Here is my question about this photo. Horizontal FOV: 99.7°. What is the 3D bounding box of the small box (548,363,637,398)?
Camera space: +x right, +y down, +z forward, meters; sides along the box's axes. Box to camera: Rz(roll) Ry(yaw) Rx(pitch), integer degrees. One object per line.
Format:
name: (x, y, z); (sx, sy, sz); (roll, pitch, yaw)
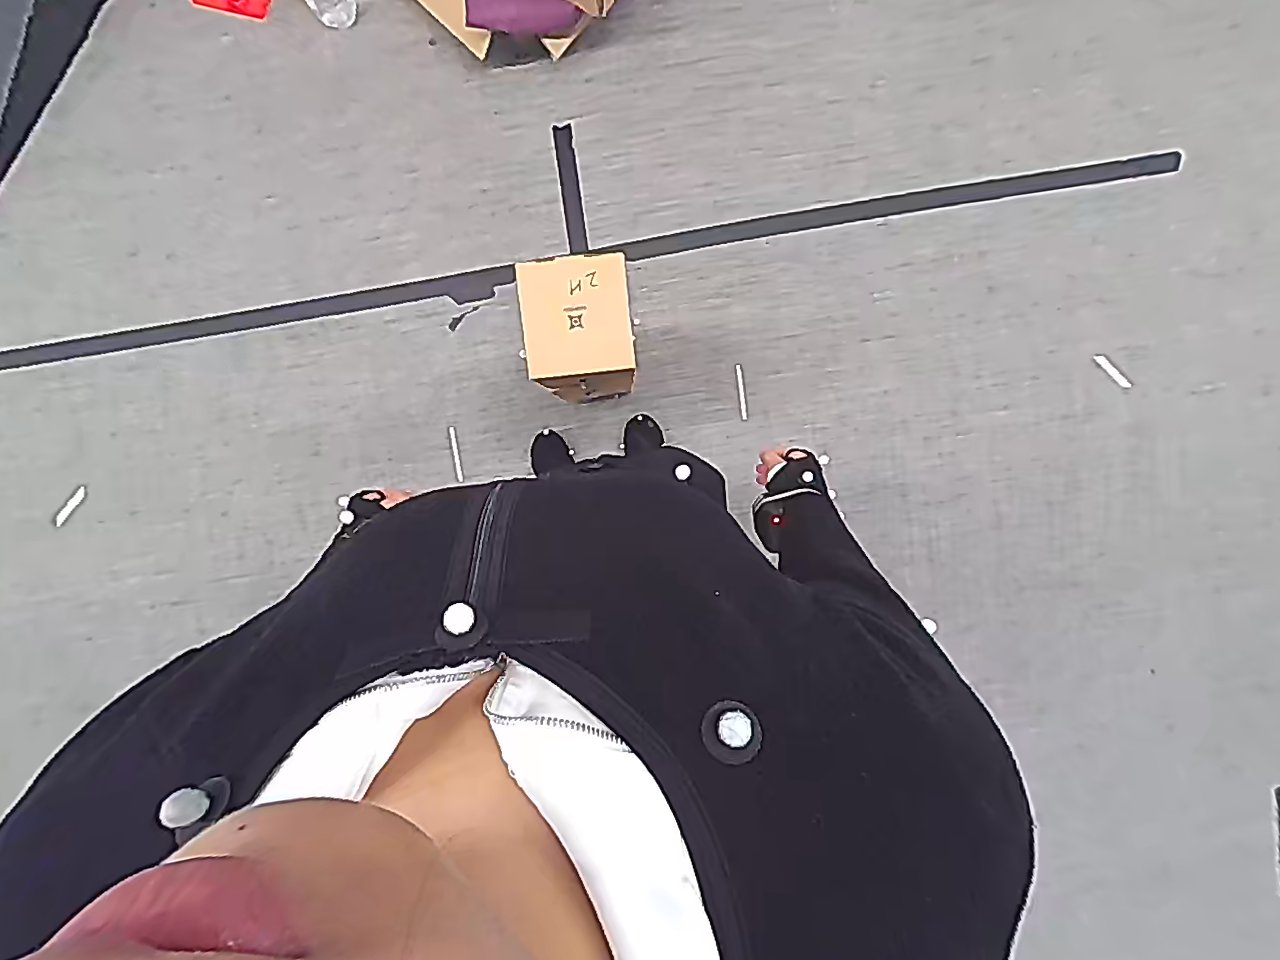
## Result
small box: (-0.103, -0.265, 1.061); (0.168, 0.176, 0.179); (-11, 96, 0)

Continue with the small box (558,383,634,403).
small box: (-0.110, -0.278, 1.225); (0.168, 0.176, 0.179); (-11, 94, 0)

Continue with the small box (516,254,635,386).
small box: (-0.097, -0.253, 0.896); (0.168, 0.176, 0.179); (-6, 94, -1)
